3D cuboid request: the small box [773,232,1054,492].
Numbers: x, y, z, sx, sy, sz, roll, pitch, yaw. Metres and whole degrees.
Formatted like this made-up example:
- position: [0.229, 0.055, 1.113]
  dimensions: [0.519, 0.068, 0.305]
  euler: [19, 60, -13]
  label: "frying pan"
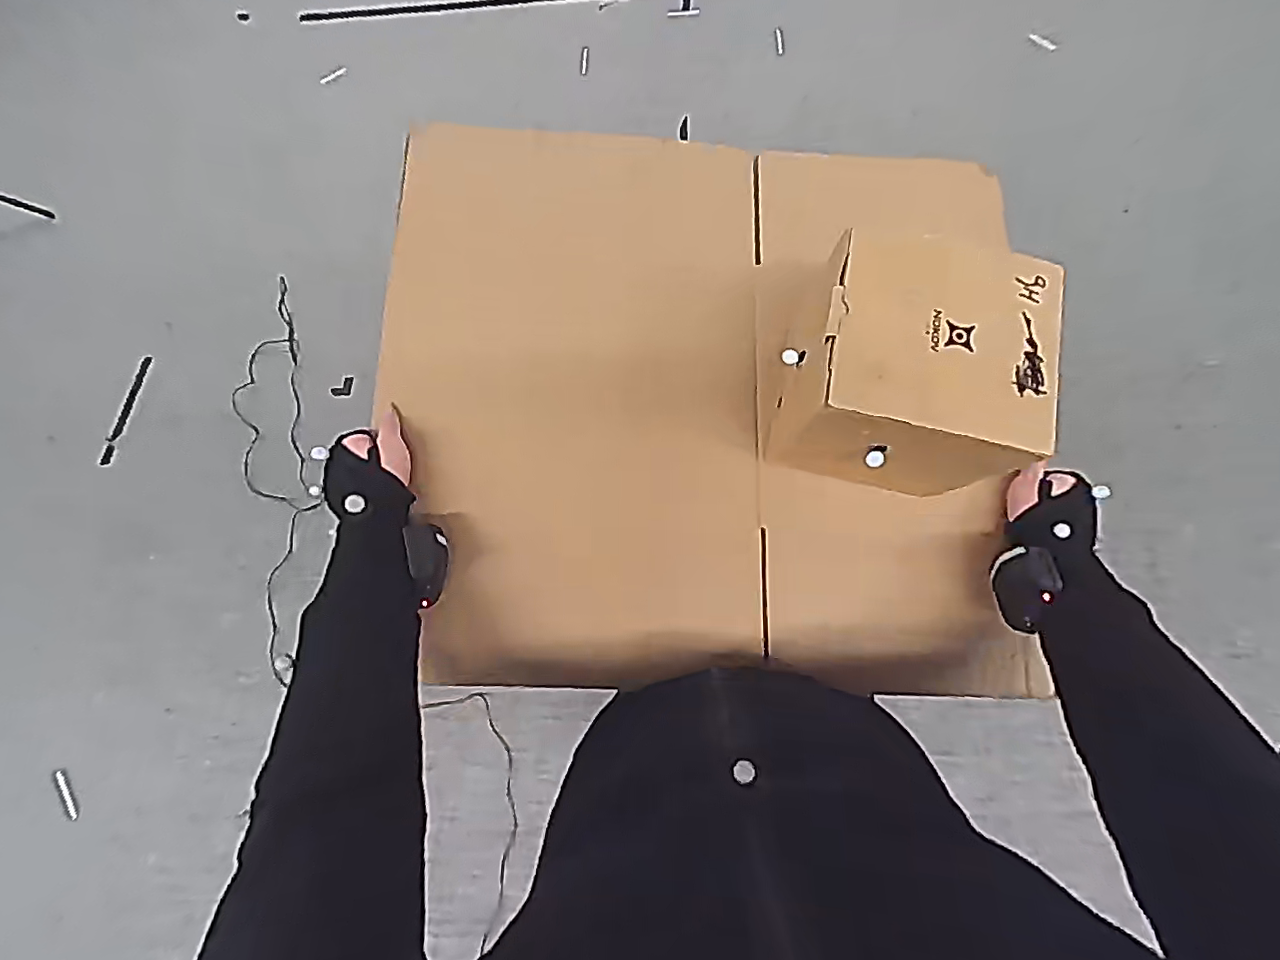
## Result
- position: [0.236, -0.094, 0.506]
  dimensions: [0.179, 0.176, 0.168]
  euler: [12, 78, 2]
  label: "small box"
